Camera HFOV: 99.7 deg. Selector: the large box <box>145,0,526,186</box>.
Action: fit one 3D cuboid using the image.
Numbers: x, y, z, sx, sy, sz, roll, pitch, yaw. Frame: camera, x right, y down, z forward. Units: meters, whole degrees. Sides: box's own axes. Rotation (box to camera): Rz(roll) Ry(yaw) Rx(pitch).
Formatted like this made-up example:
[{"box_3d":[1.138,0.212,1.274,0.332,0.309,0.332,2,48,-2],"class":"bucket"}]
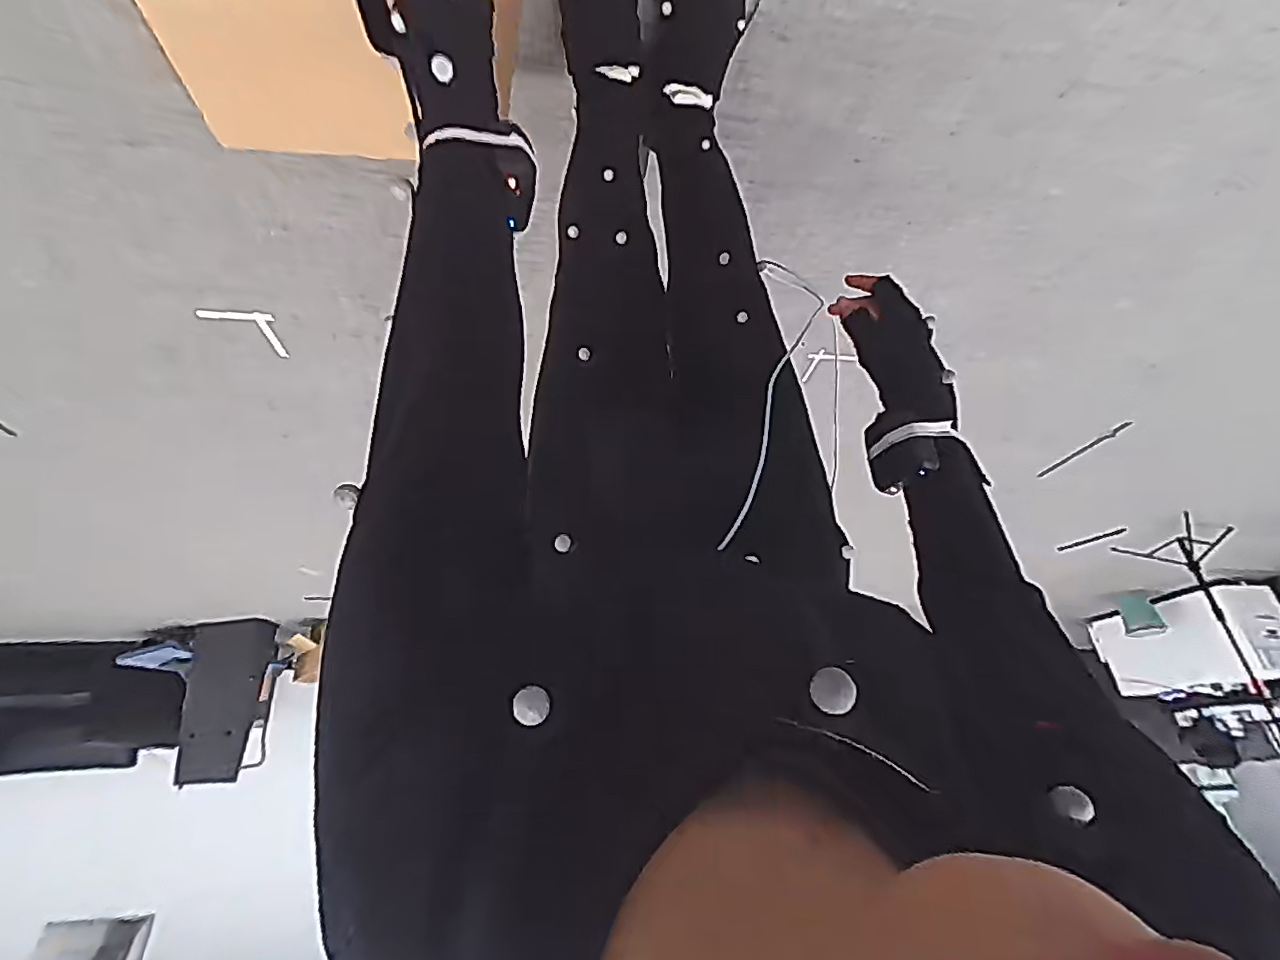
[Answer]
[{"box_3d":[-0.305,-0.597,0.595,0.320,0.408,0.320,0,153,-6],"class":"large box"}]
